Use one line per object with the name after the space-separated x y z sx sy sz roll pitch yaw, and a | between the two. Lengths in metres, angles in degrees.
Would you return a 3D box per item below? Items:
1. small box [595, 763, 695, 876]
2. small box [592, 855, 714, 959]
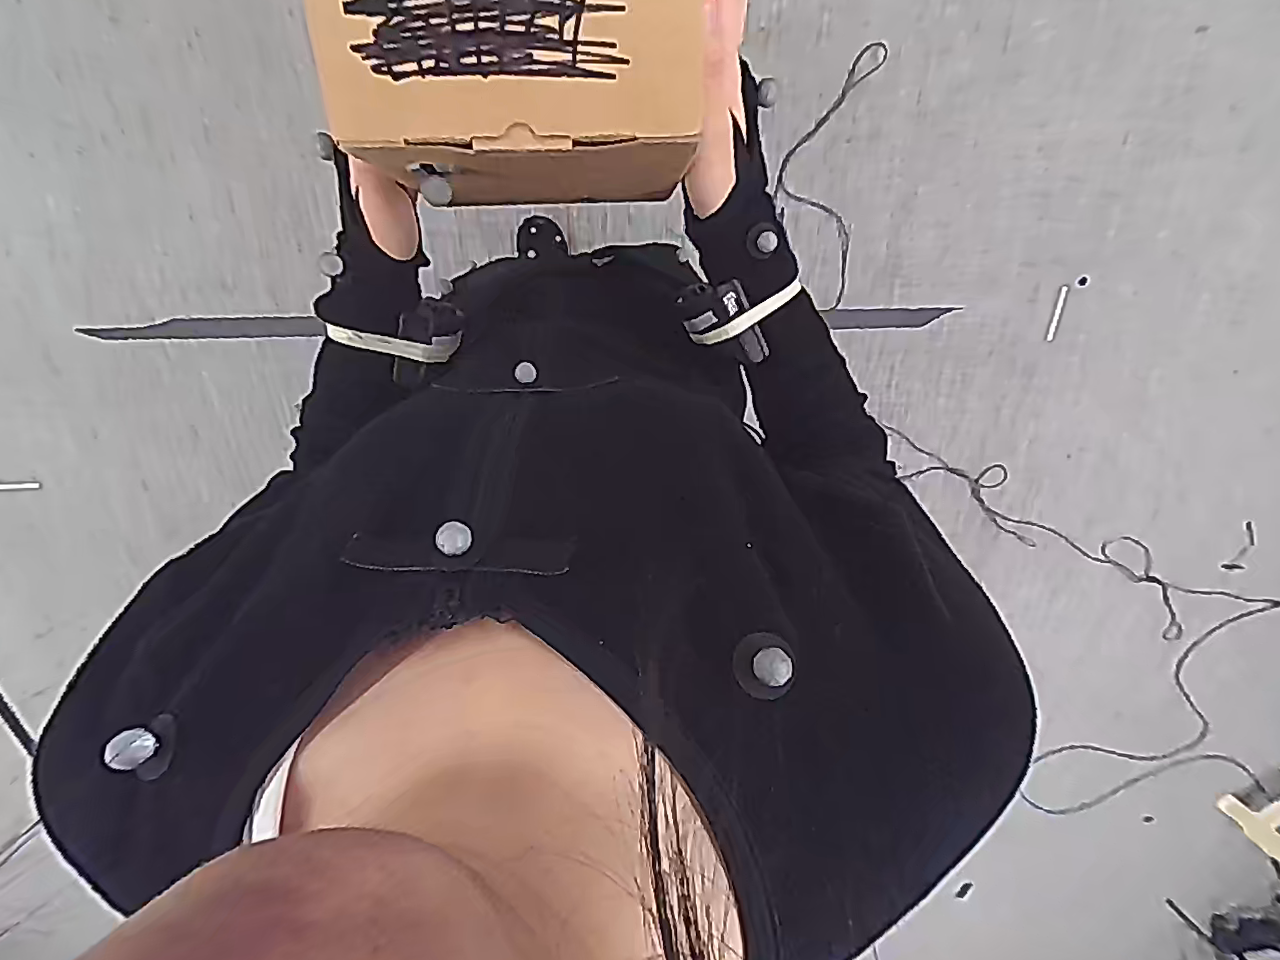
0.009 0.651 0.986 0.168 0.176 0.179 -5 115 -2 | small box
0.020 0.721 0.840 0.179 0.176 0.168 -6 117 -1 | small box
